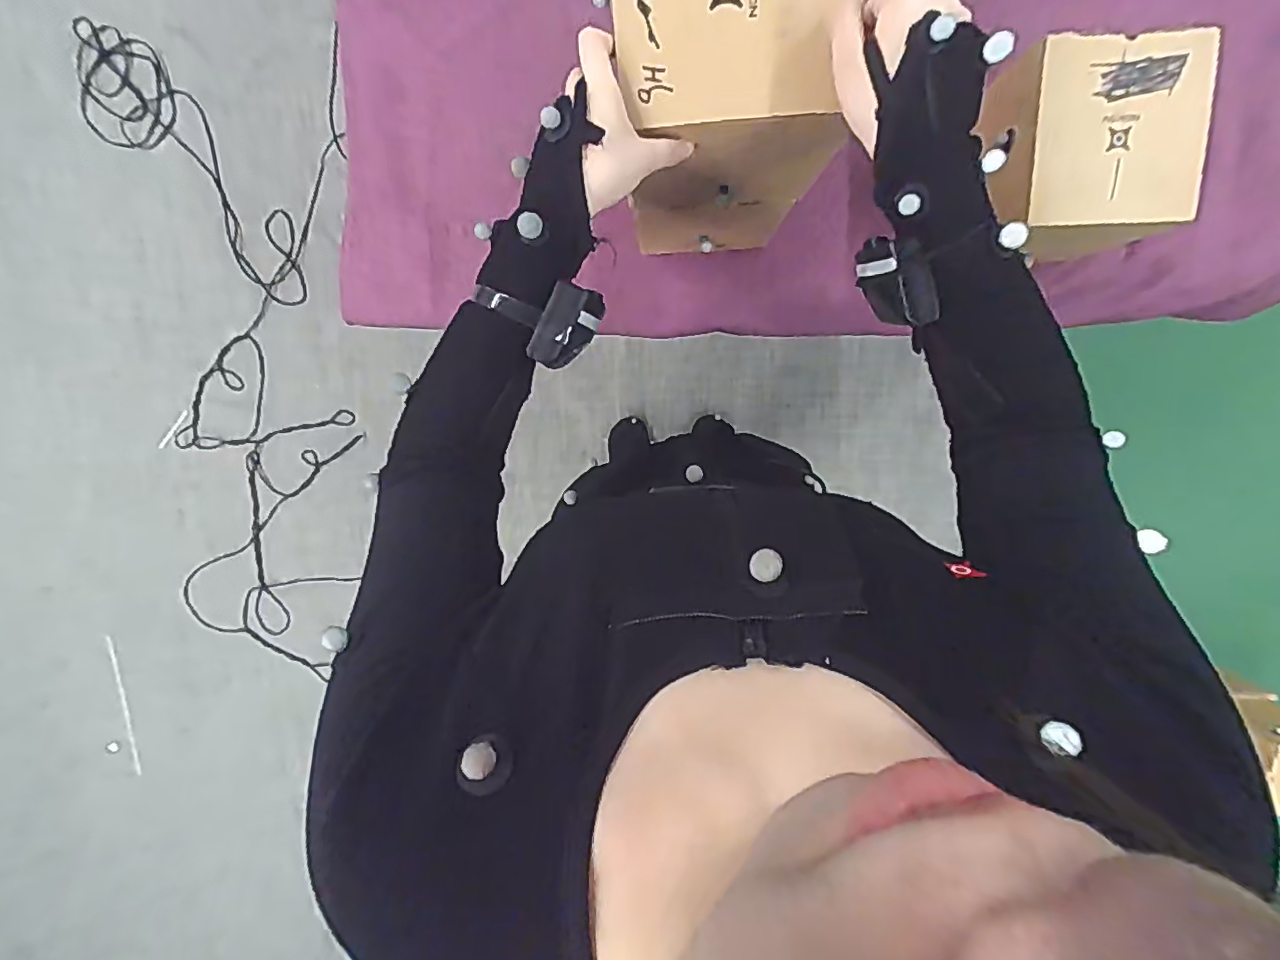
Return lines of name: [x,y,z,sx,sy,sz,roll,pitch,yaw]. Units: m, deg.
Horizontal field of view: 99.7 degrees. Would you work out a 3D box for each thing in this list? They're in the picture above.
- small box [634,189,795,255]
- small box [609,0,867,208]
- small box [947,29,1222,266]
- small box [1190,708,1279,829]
small box: [0.074,-0.371,0.609,0.168,0.176,0.179,-2,97,3]
small box: [0.066,-0.340,0.443,0.179,0.176,0.168,-3,97,2]
small box: [0.468,-0.349,0.600,0.168,0.176,0.179,0,99,2]
small box: [1.342,0.603,1.141,0.179,0.176,0.168,1,100,2]
